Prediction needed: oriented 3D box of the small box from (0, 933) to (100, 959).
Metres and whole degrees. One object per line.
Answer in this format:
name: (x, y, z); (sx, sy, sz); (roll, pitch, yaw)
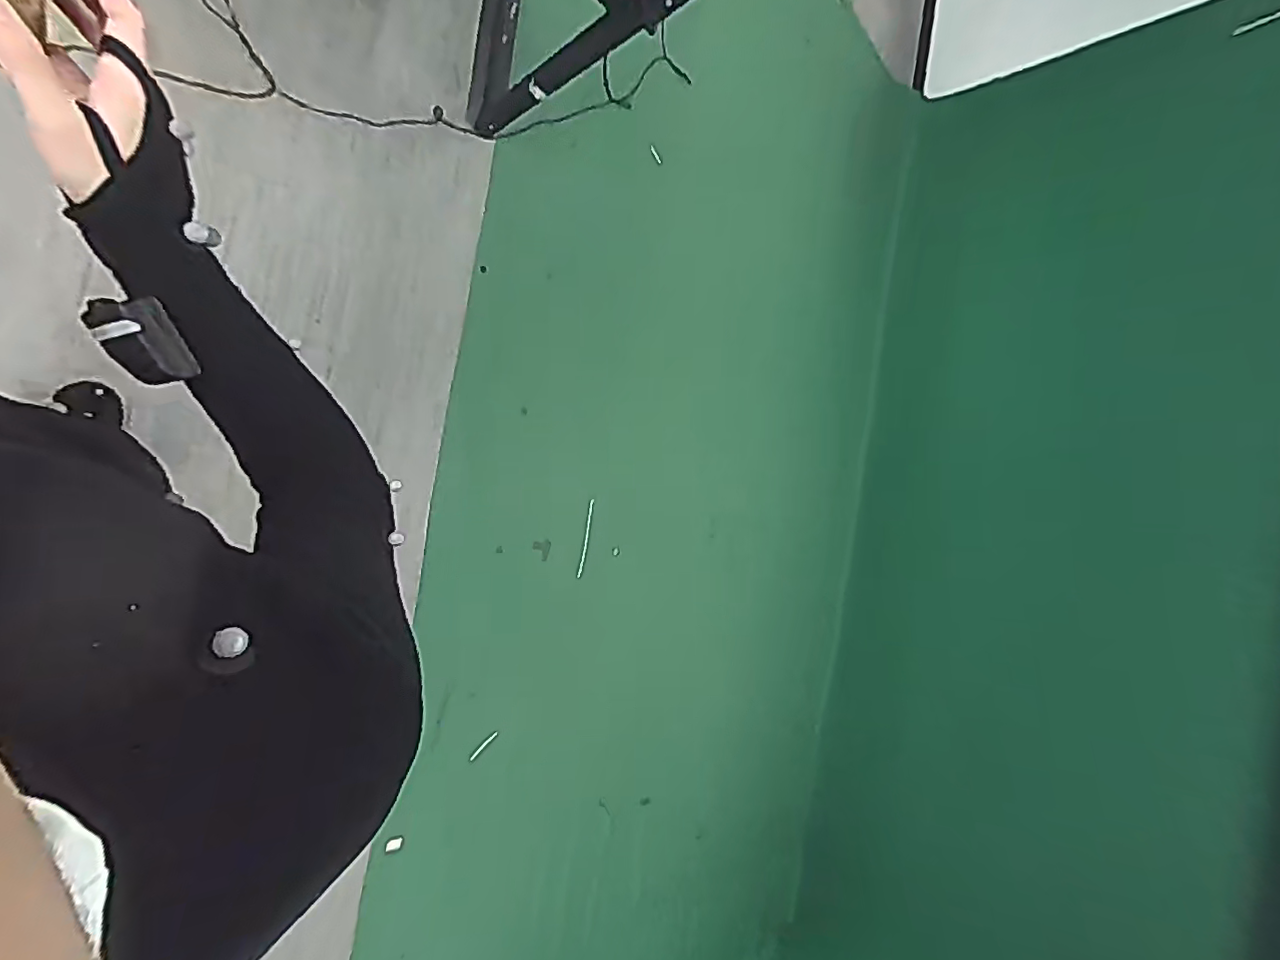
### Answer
small box: (-1.221, 1.069, 1.089); (0.168, 0.176, 0.179); (12, 87, -43)

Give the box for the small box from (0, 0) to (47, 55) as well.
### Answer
small box: (-0.434, -0.380, 0.283); (0.168, 0.176, 0.179); (4, 97, -46)
